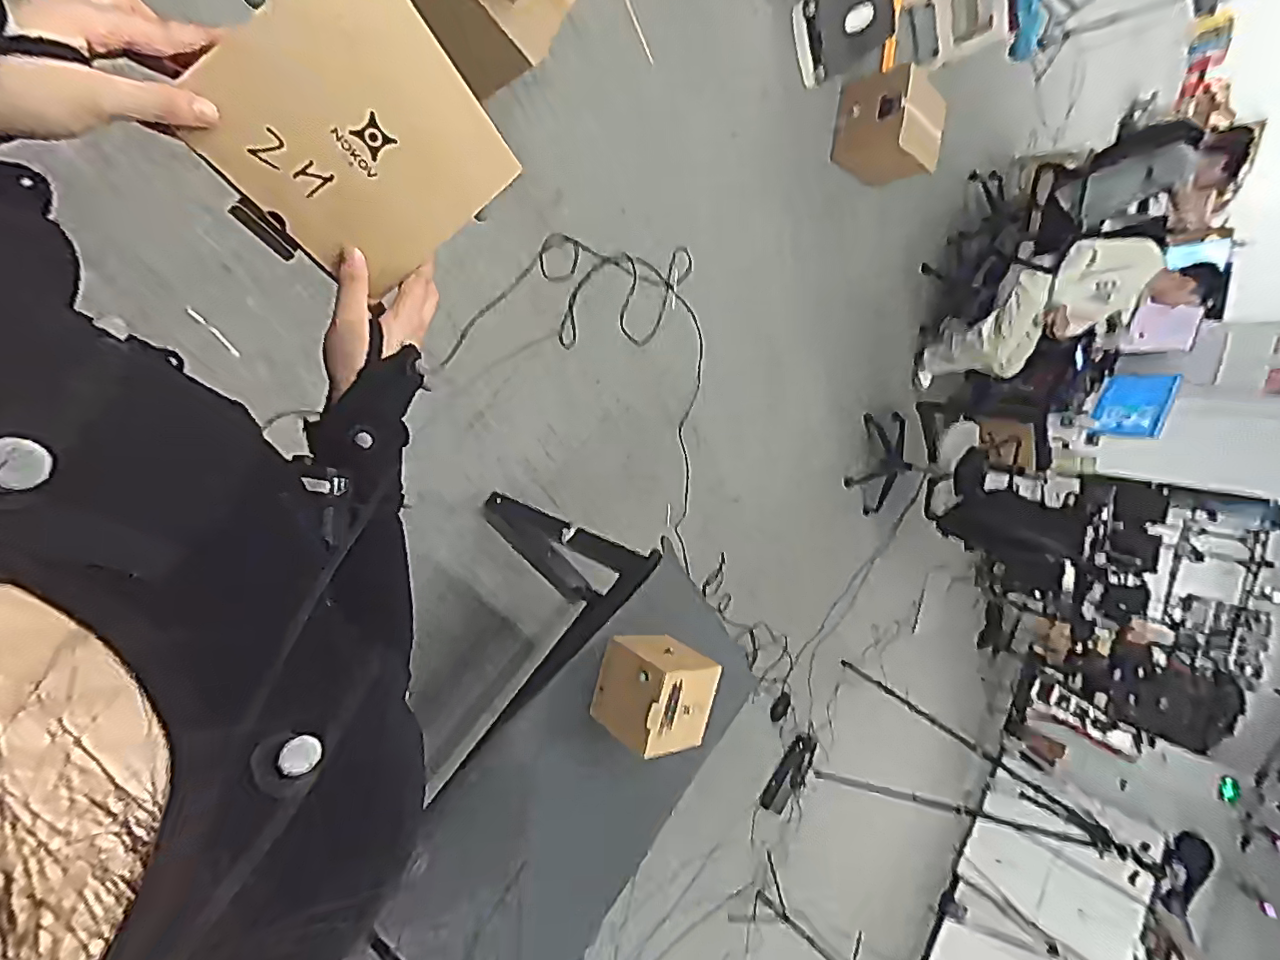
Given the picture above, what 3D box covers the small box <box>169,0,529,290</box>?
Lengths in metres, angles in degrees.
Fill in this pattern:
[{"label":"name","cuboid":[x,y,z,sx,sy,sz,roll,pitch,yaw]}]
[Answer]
[{"label":"small box","cuboid":[-0.230,-0.293,0.447,0.179,0.176,0.168,-43,132,-2]}]
